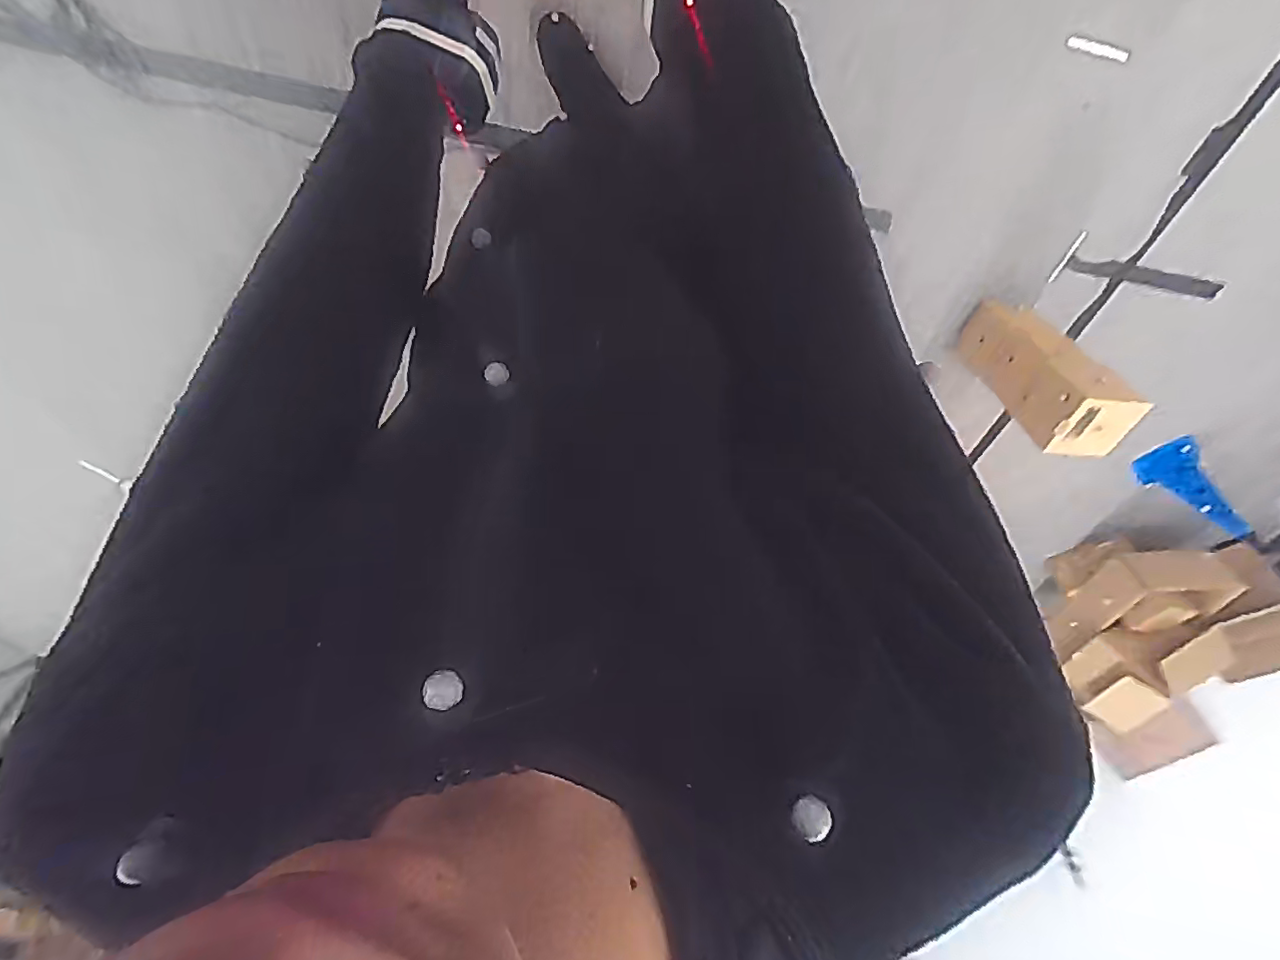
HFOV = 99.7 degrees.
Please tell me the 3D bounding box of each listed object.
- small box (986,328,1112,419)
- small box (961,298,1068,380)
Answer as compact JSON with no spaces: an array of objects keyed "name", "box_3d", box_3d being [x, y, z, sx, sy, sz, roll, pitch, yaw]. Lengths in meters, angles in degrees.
[{"name":"small box","box_3d":[1.095,-0.291,1.464,0.179,0.176,0.168,8,134,-9]},{"name":"small box","box_3d":[1.078,-0.404,1.580,0.168,0.176,0.179,5,134,-7]}]
